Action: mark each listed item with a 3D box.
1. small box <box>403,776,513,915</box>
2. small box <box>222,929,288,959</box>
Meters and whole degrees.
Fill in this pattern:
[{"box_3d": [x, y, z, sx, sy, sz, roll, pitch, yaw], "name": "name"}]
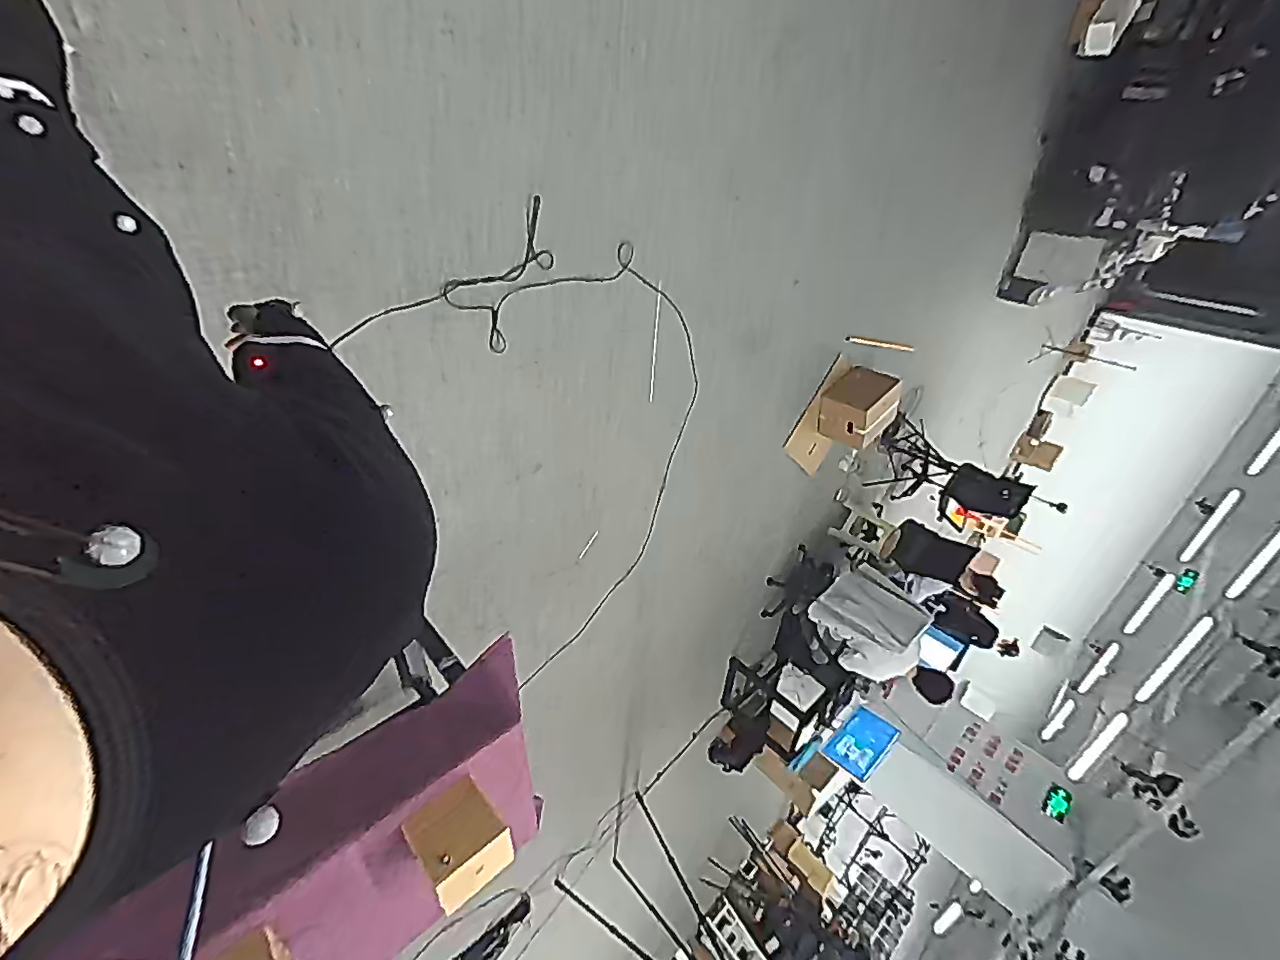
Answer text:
[{"box_3d": [-0.420, 0.839, 1.257, 0.179, 0.176, 0.168, -25, 133, -35], "name": "small box"}, {"box_3d": [-0.739, 0.992, 0.993, 0.179, 0.176, 0.168, -25, 132, -37], "name": "small box"}]
